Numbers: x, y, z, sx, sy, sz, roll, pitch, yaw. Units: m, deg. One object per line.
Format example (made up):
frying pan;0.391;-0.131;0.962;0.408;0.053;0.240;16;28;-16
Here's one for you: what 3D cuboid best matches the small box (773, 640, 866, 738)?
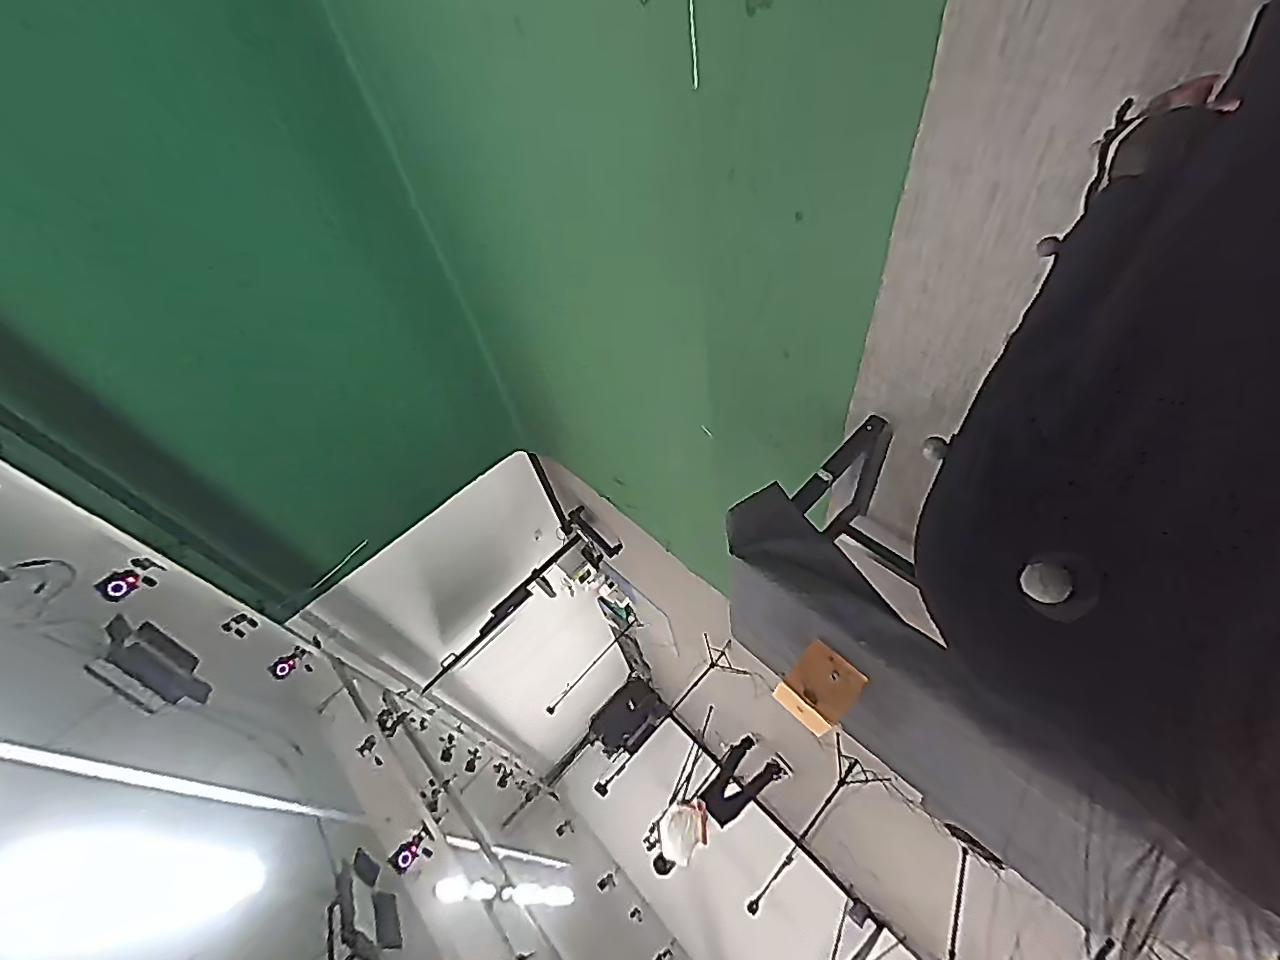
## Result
small box;0.494;0.577;1.494;0.168;0.176;0.179;39;157;26
